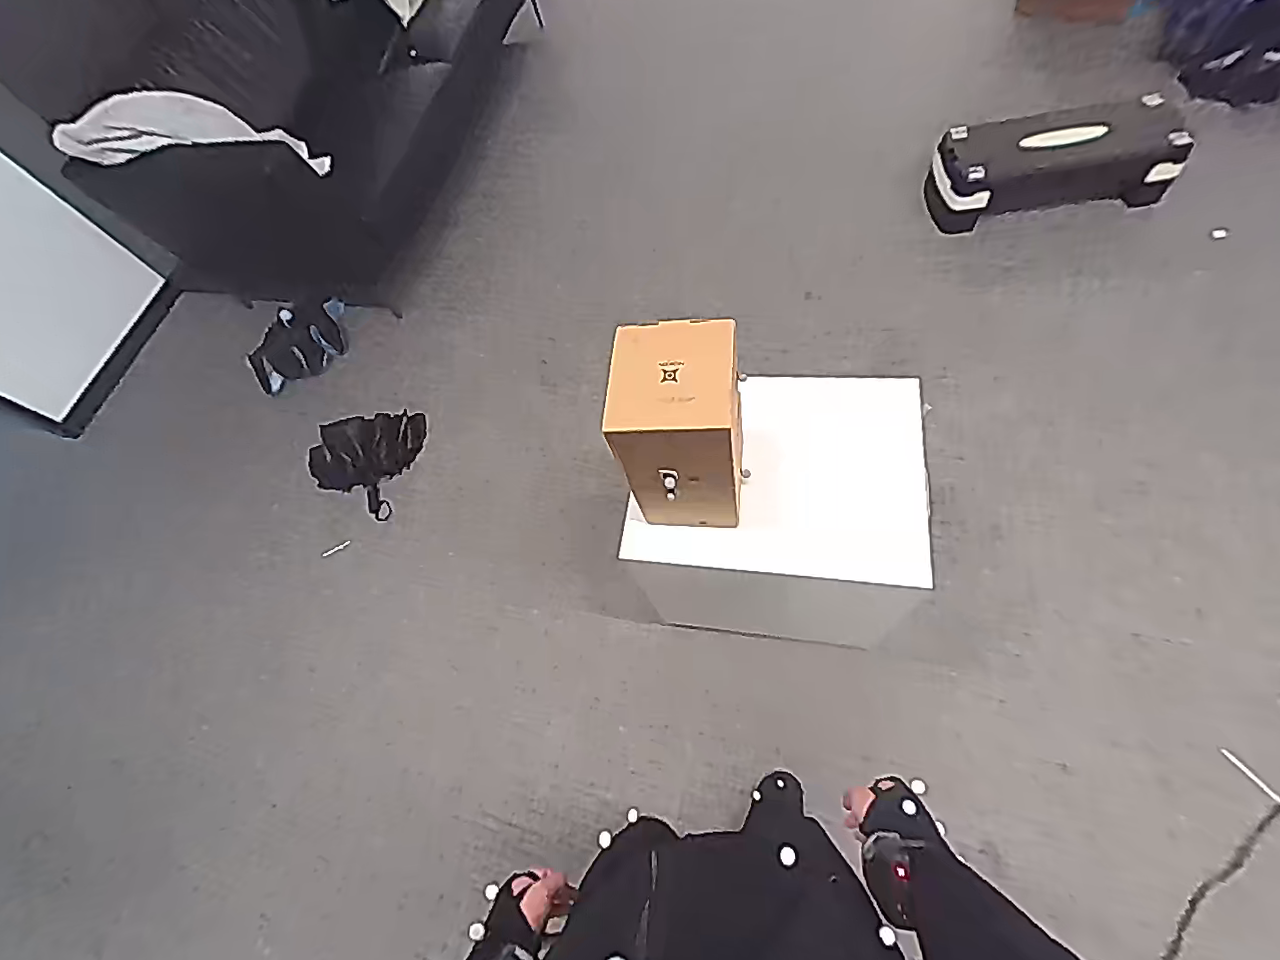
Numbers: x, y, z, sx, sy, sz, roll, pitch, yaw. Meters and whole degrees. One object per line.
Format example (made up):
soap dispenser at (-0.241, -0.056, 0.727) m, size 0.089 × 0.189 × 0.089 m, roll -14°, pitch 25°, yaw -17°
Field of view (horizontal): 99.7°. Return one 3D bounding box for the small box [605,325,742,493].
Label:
small box at (0.057, -0.095, 0.777) m, size 0.168 × 0.176 × 0.179 m, roll -1°, pitch 64°, yaw 13°

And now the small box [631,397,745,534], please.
small box at (0.090, -0.024, 0.920) m, size 0.168 × 0.176 × 0.179 m, roll 1°, pitch 63°, yaw 14°
